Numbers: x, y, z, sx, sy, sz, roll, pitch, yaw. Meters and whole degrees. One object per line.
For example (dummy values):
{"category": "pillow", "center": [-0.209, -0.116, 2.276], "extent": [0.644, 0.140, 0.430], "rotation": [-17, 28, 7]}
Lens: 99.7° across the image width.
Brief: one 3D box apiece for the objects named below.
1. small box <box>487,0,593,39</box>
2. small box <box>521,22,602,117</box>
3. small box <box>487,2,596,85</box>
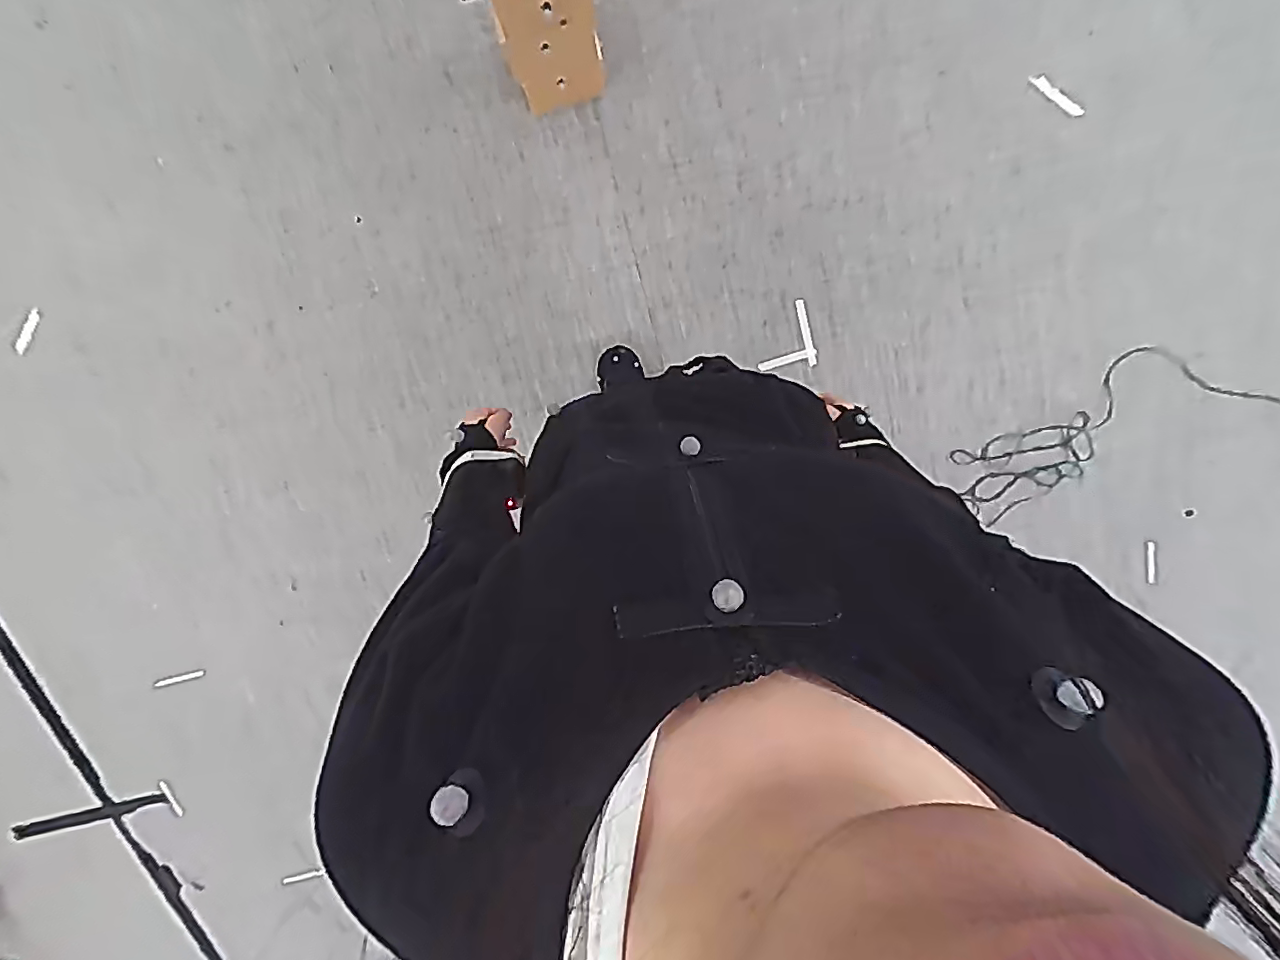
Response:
{"category": "small box", "center": [-0.174, -0.847, 0.861], "extent": [0.168, 0.176, 0.179], "rotation": [-13, 106, 2]}
{"category": "small box", "center": [-0.186, -0.932, 1.178], "extent": [0.179, 0.176, 0.168], "rotation": [-15, 105, 2]}
{"category": "small box", "center": [-0.187, -0.885, 1.020], "extent": [0.179, 0.176, 0.168], "rotation": [-12, 106, 2]}
